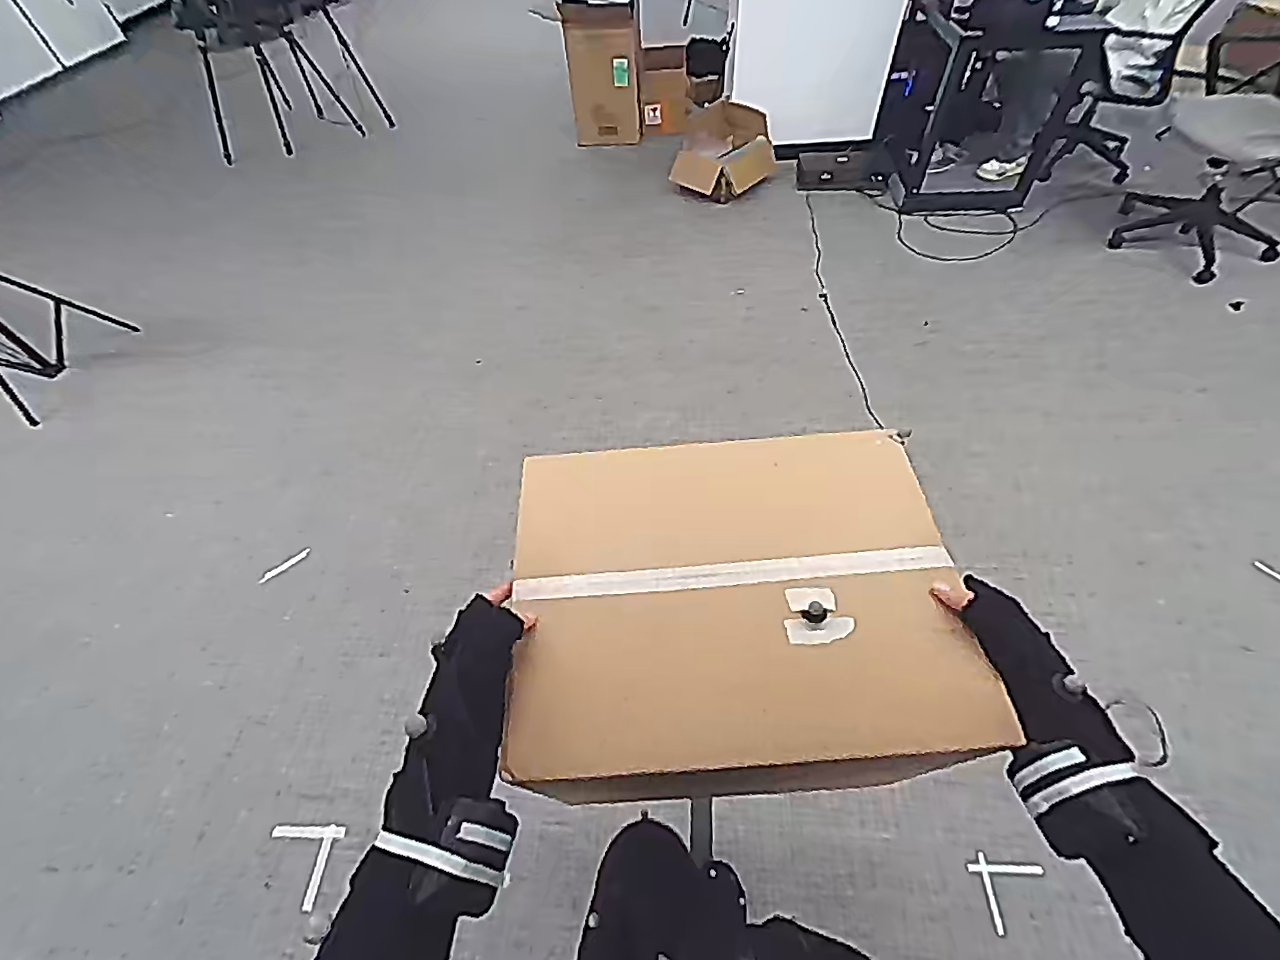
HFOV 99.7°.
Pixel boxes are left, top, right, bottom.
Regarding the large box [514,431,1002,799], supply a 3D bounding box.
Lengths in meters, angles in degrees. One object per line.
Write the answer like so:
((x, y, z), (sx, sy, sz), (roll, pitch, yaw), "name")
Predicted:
((0.091, 0.171, 0.637), (0.408, 0.320, 0.320), (-4, 56, 1), "large box")
